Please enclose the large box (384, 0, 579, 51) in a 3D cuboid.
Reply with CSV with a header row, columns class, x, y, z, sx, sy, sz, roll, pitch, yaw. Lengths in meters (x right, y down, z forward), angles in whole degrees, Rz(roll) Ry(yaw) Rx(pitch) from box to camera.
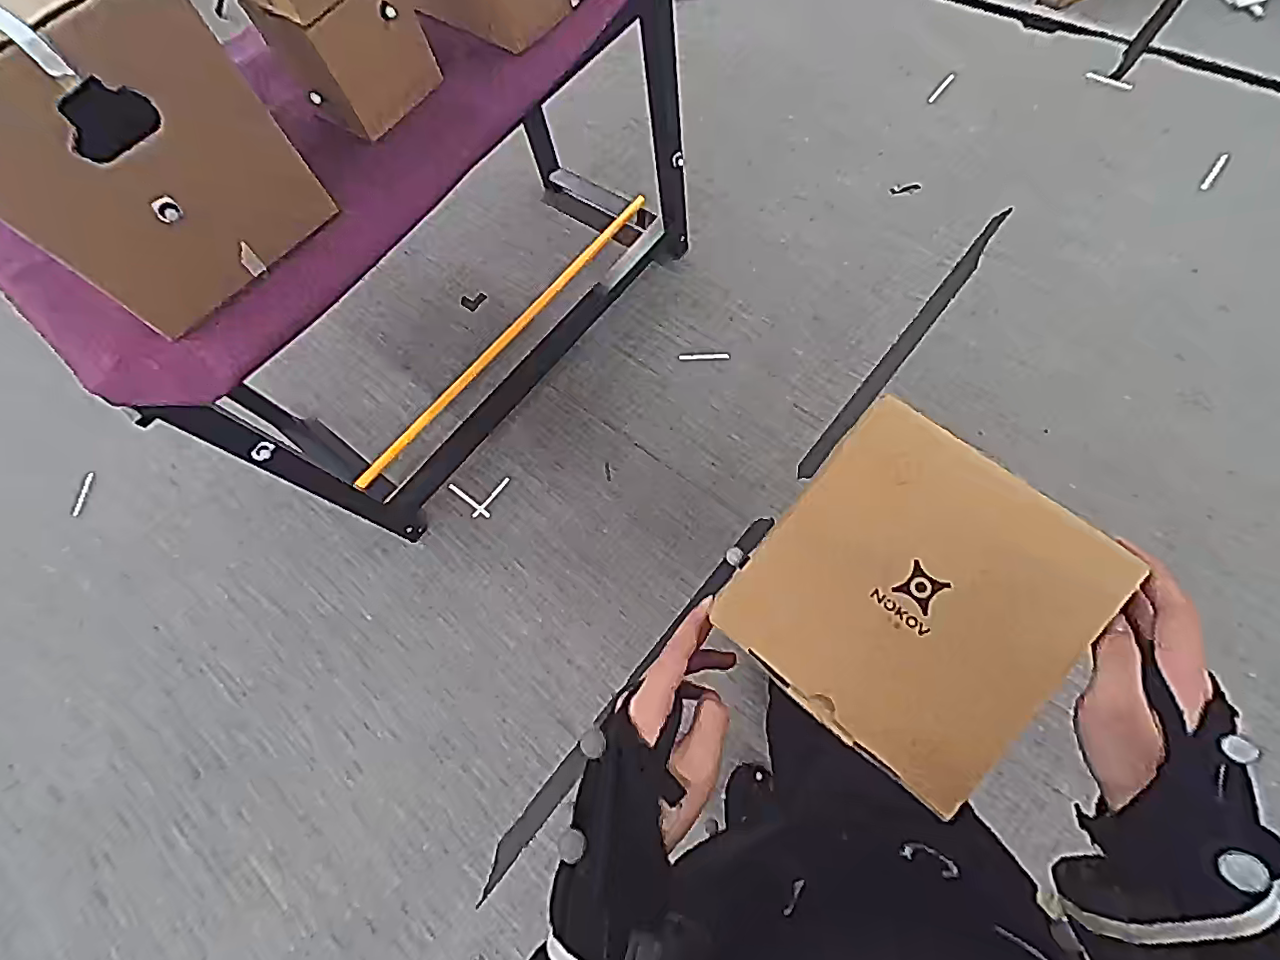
class,x,y,z,sx,sy,sz,roll,pitch,yaw
large box,-0.278,-0.990,0.875,0.408,0.320,0.320,35,76,20
